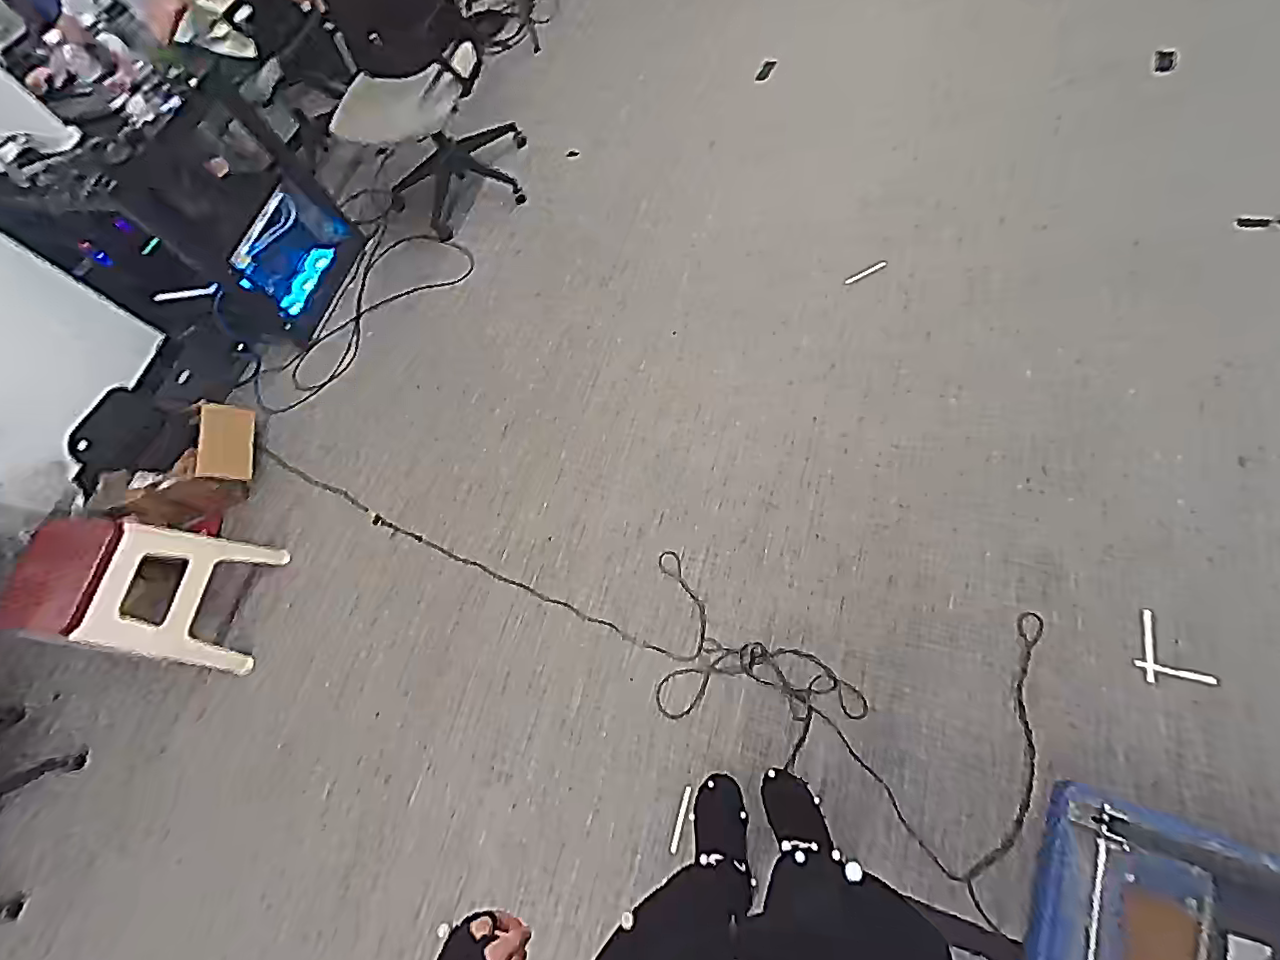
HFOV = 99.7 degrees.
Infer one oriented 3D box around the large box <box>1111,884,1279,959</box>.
[{"bbox_3d":[0.835,0.815,0.657,0.320,0.320,0.408,12,71,20],"label":"large box"}]
